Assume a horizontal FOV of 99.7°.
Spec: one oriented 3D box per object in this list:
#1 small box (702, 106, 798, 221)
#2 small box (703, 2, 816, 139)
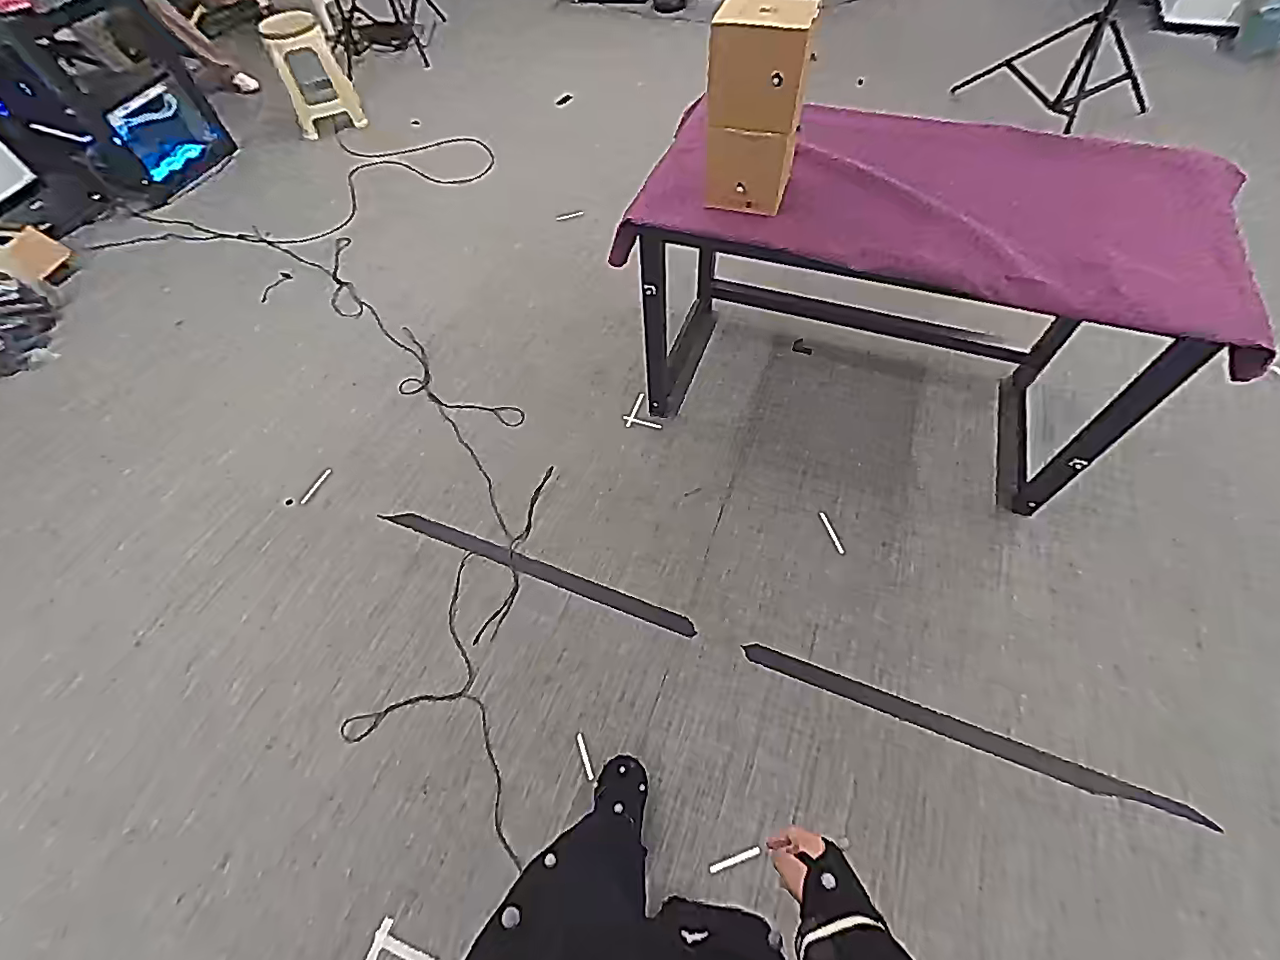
[{"bbox_3d":[0.236,-0.705,1.190,0.168,0.176,0.179,14,59,13],"label":"small box"},{"bbox_3d":[0.227,-0.794,1.055,0.179,0.176,0.168,13,57,12],"label":"small box"}]
